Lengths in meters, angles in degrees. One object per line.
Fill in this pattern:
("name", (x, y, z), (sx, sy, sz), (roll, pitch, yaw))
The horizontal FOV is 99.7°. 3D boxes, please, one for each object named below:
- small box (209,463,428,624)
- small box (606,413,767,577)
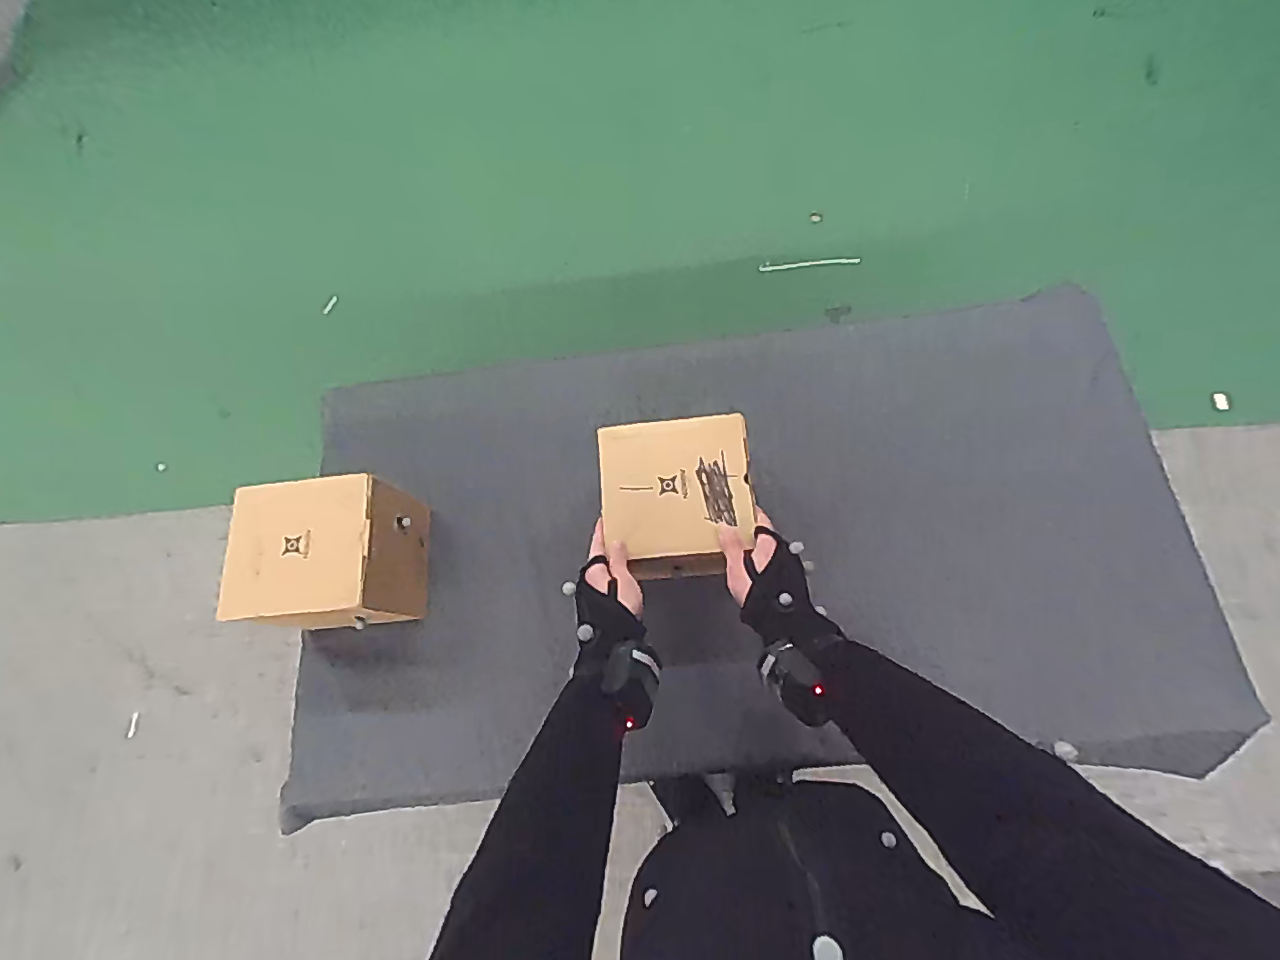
("small box", (-0.394, 0.090, 0.699), (0.179, 0.176, 0.168), (-6, 70, 3))
("small box", (0.054, 0.028, 0.688), (0.179, 0.176, 0.168), (-4, 71, 4))
